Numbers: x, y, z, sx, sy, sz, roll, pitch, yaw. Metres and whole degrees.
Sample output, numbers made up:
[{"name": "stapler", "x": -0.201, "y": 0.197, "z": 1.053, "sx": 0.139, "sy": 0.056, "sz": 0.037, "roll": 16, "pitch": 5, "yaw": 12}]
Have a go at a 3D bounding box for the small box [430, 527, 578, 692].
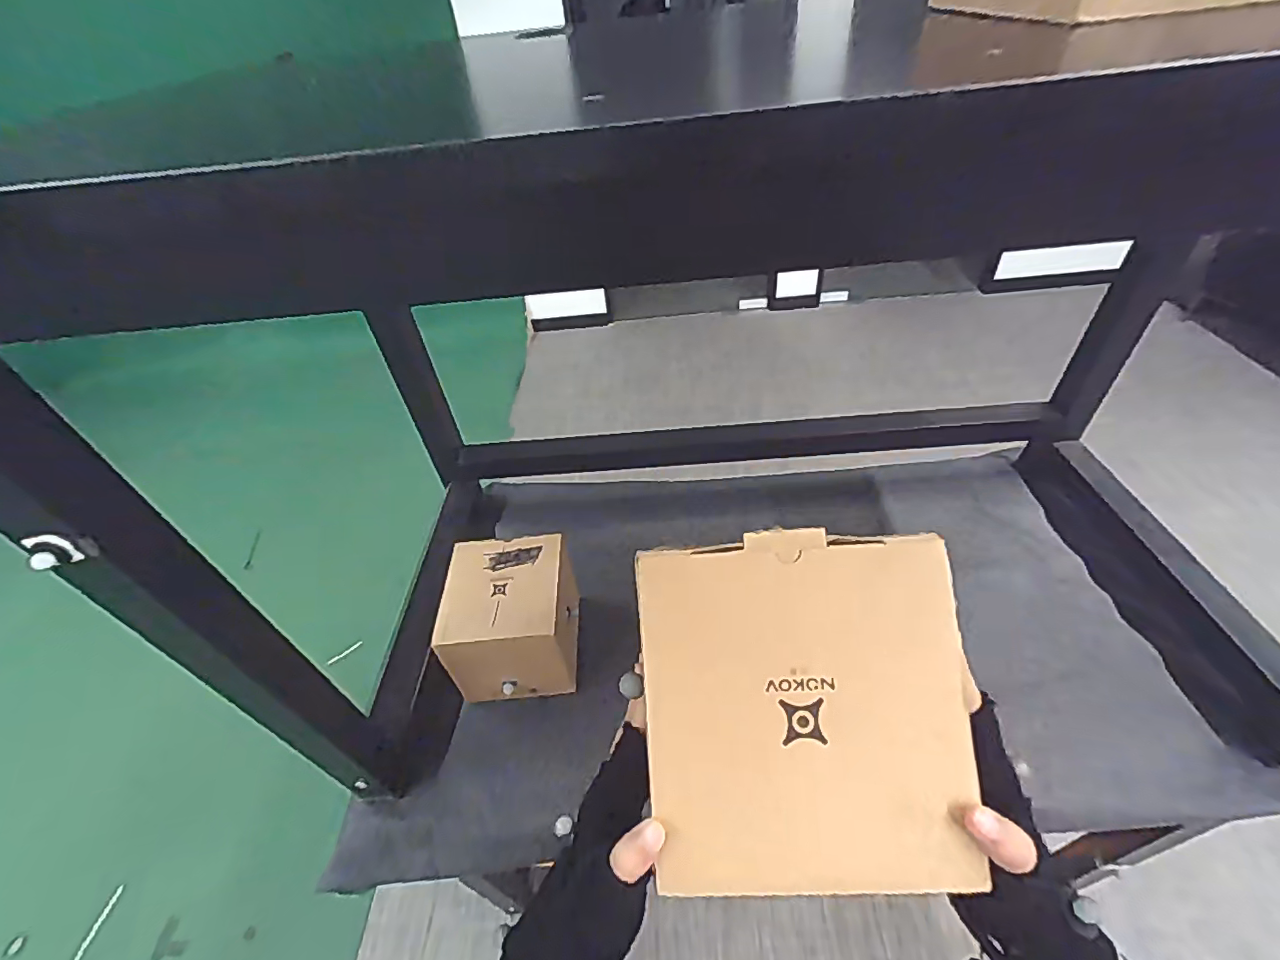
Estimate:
[{"name": "small box", "x": -0.190, "y": 0.195, "z": 0.817, "sx": 0.168, "sy": 0.176, "sz": 0.179, "roll": -6, "pitch": 44, "yaw": 2}]
